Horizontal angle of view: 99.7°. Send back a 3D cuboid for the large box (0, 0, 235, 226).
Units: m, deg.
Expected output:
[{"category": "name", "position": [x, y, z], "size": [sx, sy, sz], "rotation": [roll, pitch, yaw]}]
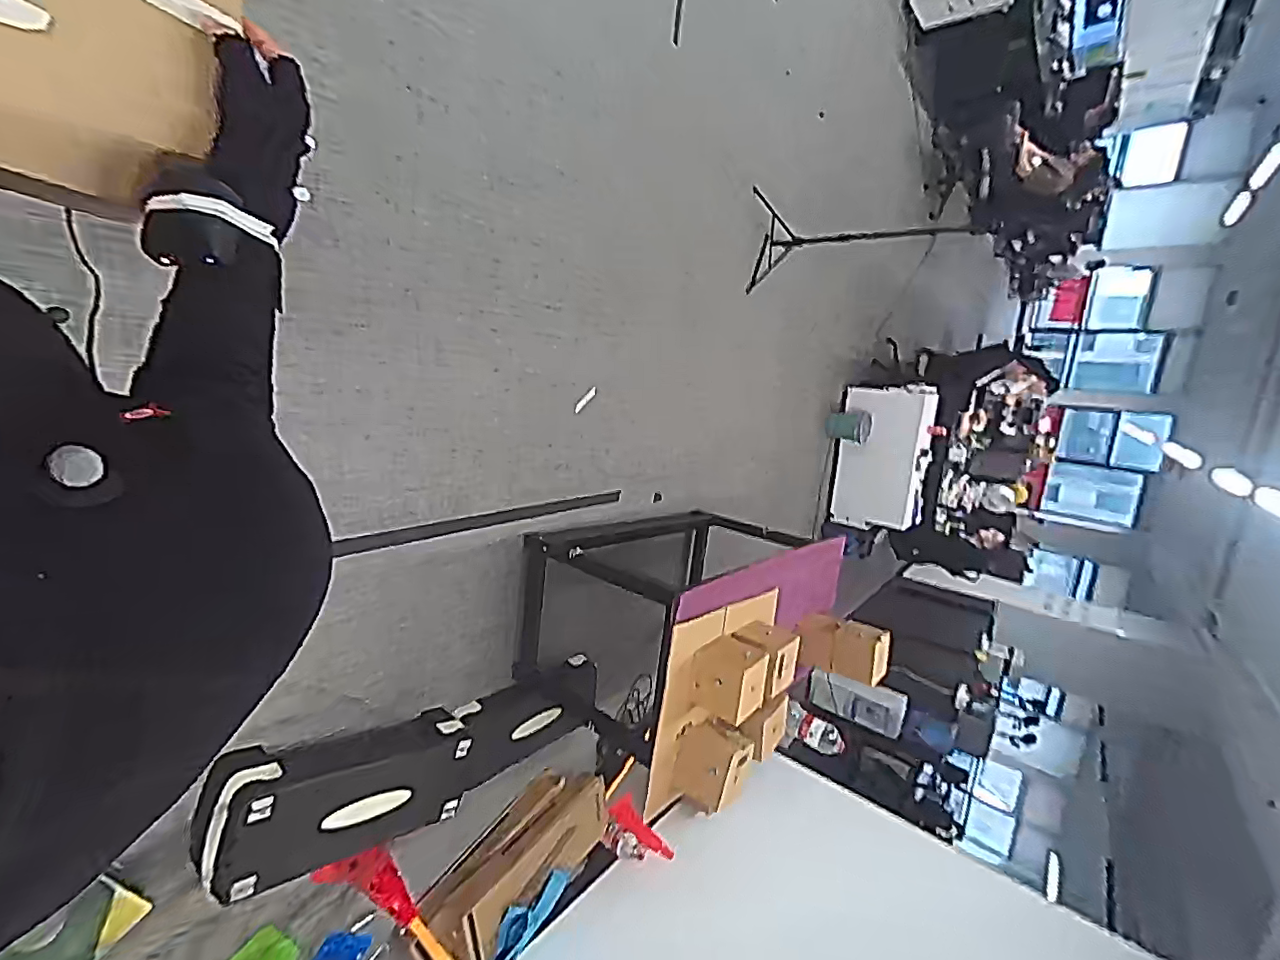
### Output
[{"category": "large box", "position": [-0.575, -0.411, 0.372], "size": [0.408, 0.320, 0.320], "rotation": [1, 107, -55]}]
